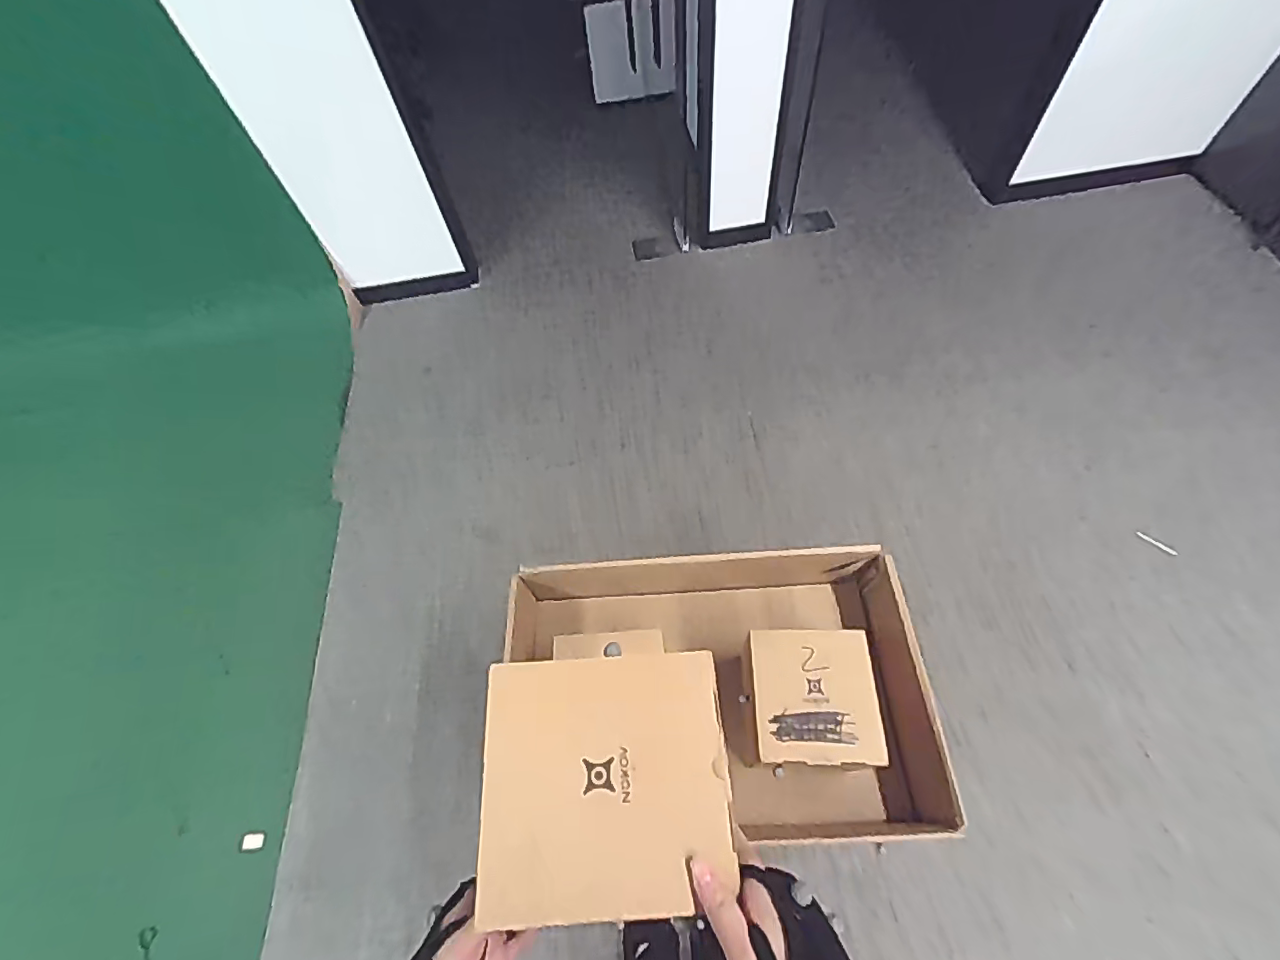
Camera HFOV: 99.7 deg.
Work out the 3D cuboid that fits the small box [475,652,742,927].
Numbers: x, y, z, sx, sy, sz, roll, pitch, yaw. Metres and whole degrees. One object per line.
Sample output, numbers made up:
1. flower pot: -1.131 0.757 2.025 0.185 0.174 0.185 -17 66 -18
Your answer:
1. small box: -0.025 0.249 0.454 0.179 0.176 0.168 -2 61 -4
